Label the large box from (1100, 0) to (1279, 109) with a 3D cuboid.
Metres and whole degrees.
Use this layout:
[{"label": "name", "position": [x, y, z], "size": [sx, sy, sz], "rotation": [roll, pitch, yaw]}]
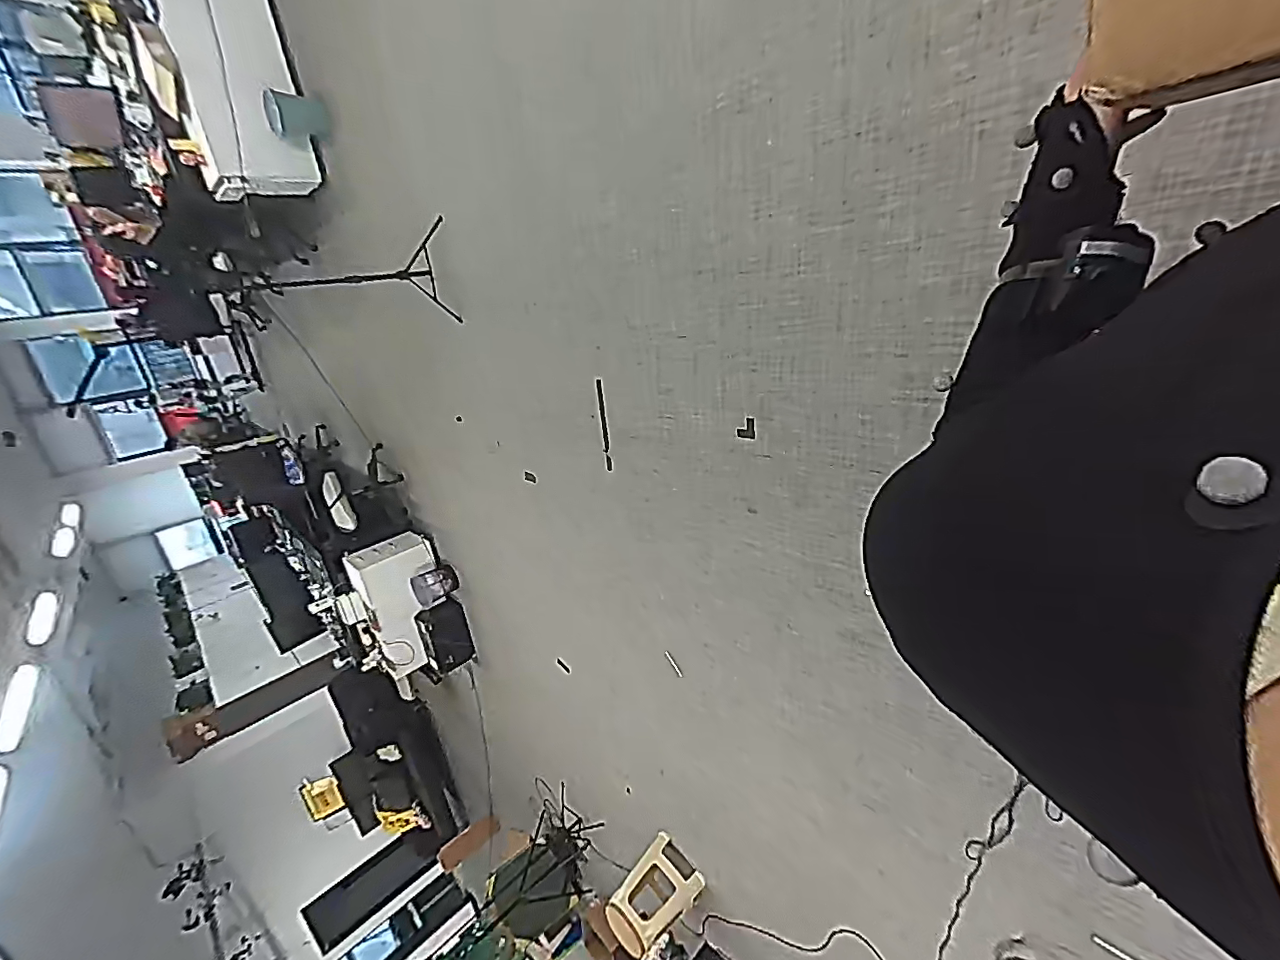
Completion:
[{"label": "large box", "position": [0.409, -0.353, 0.149], "size": [0.408, 0.320, 0.320], "rotation": [8, 121, 43]}]
